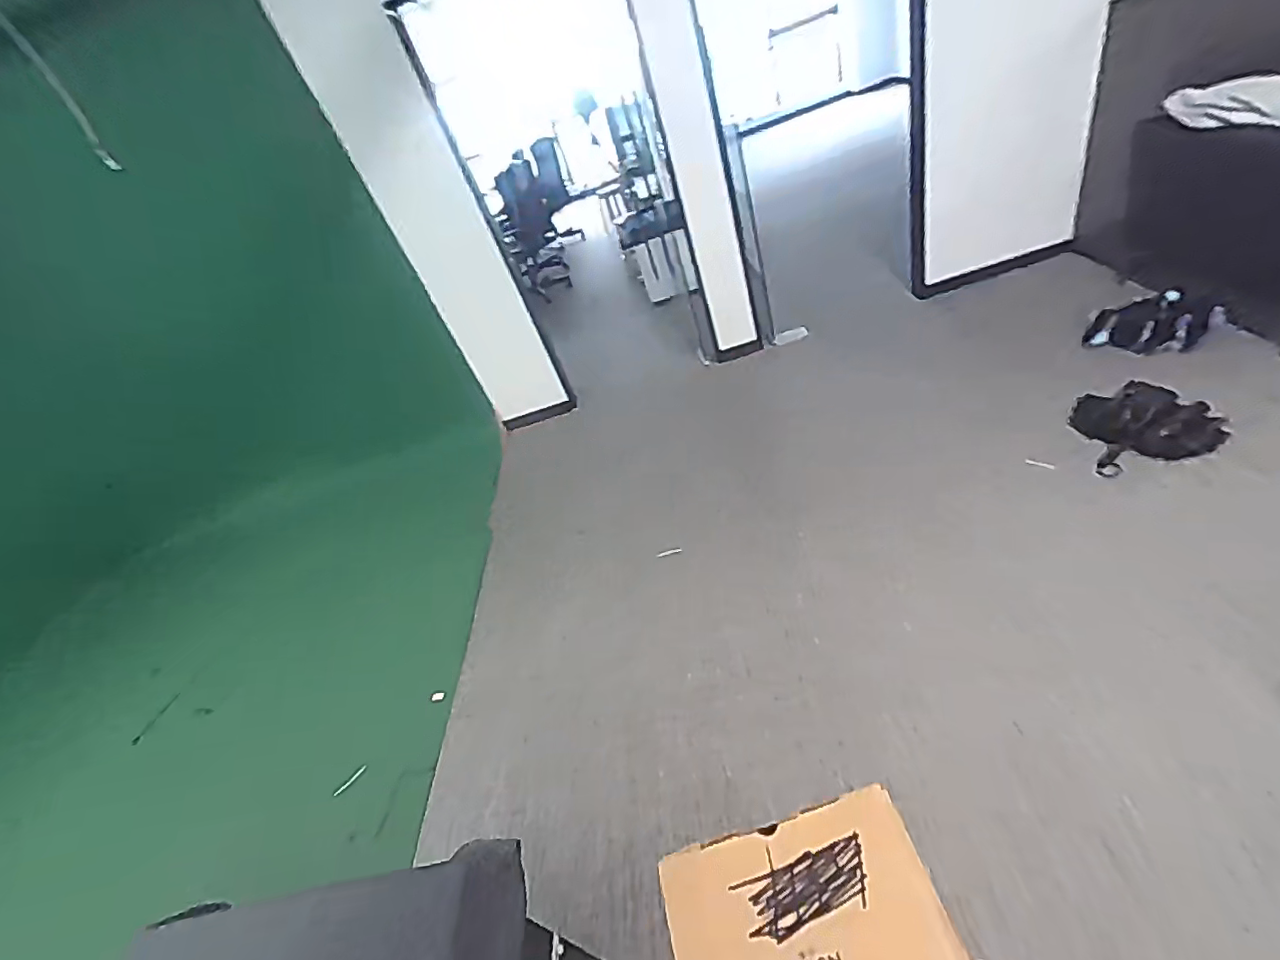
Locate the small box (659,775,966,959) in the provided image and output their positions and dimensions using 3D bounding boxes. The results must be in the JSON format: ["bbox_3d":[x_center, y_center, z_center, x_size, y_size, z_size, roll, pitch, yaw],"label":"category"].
[{"bbox_3d":[0.129,0.340,0.368,0.168,0.176,0.179,-23,42,6],"label":"small box"}]
